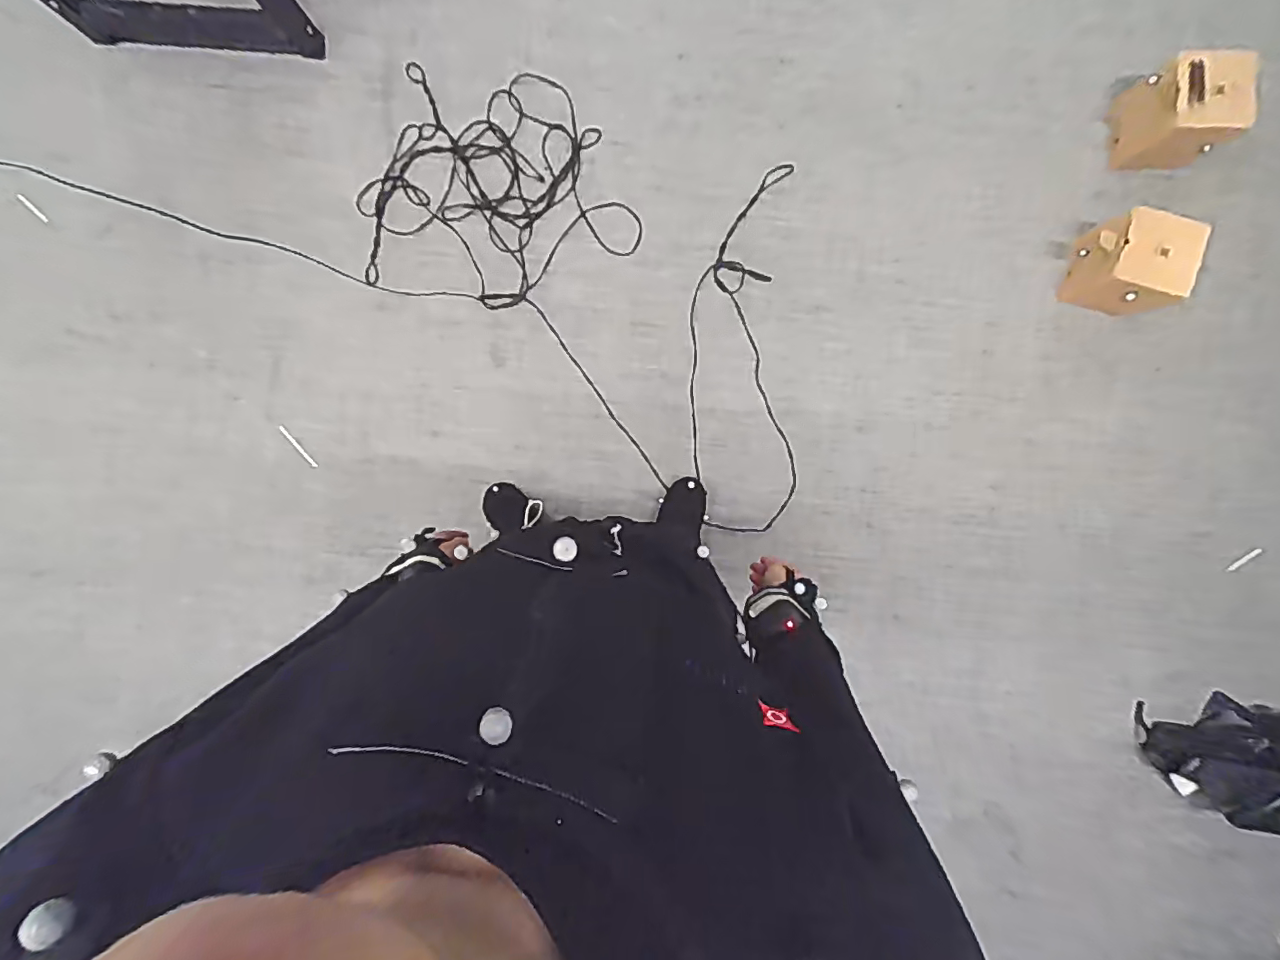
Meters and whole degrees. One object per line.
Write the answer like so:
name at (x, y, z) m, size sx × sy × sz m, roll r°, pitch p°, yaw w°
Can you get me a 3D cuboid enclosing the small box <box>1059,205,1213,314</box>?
small box at (1.141, -0.501, 1.256) m, size 0.179 × 0.176 × 0.168 m, roll 16°, pitch 92°, yaw 0°
